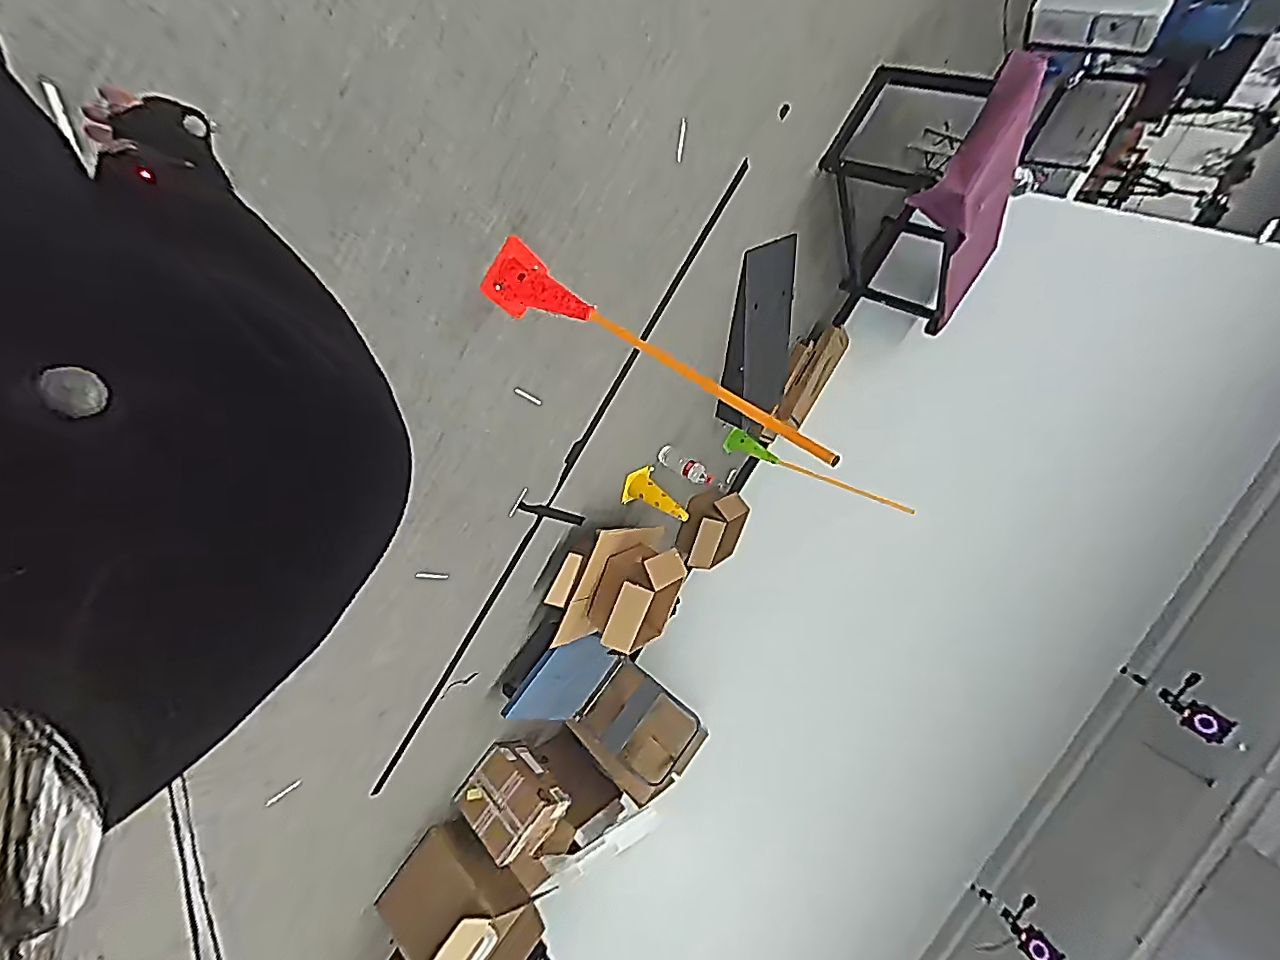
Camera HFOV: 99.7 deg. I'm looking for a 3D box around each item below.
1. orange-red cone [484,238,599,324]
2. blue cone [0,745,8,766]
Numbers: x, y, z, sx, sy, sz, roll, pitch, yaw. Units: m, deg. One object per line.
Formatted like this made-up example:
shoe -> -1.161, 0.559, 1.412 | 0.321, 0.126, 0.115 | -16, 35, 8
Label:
orange-red cone -> -0.259, -0.549, 1.625 | 0.198, 0.360, 0.199 | -57, 152, 1
blue cone -> -1.467, 0.761, 1.137 | 0.193, 0.380, 0.192 | -57, 151, 0
